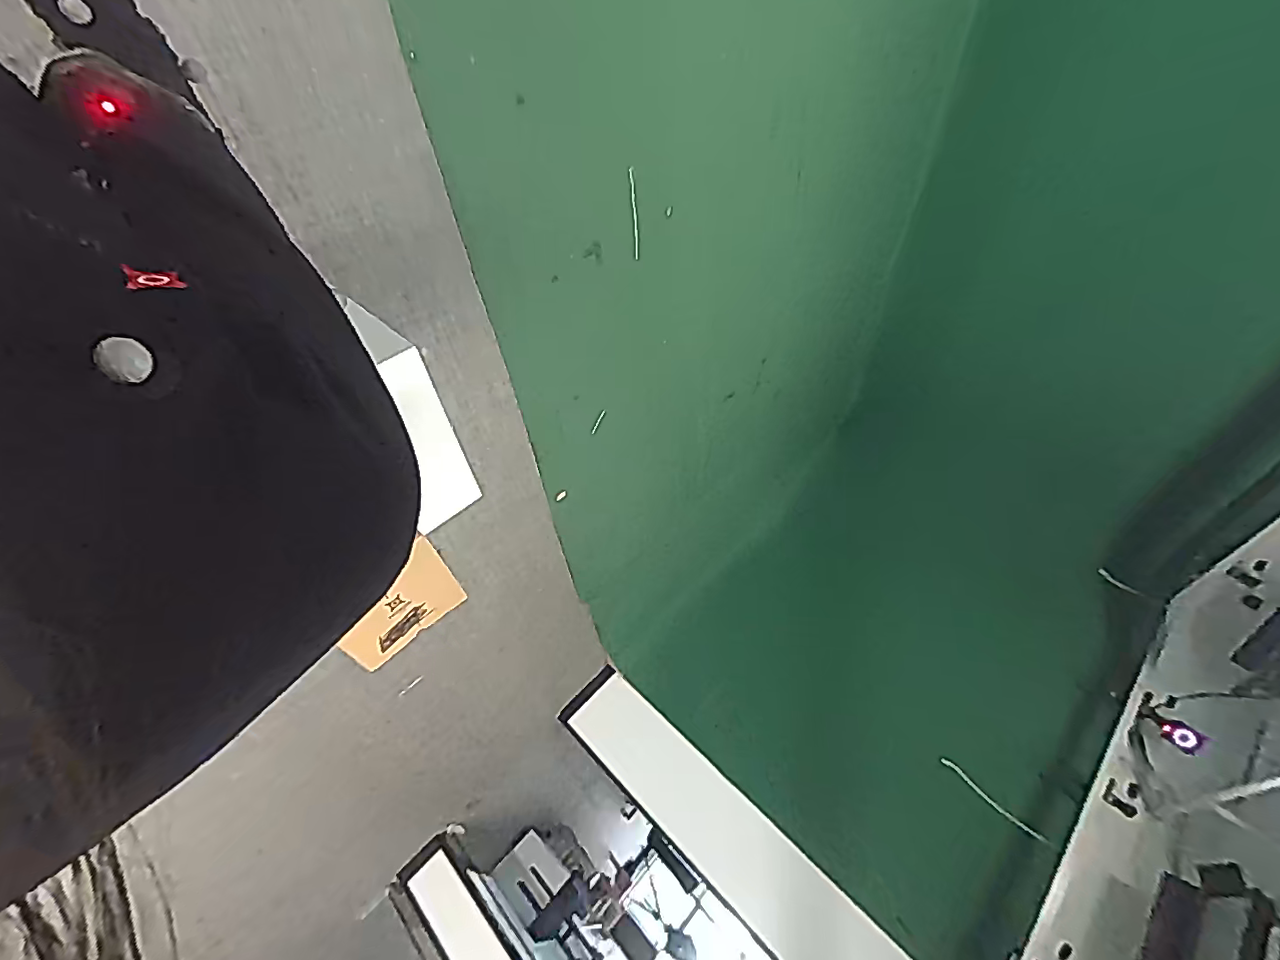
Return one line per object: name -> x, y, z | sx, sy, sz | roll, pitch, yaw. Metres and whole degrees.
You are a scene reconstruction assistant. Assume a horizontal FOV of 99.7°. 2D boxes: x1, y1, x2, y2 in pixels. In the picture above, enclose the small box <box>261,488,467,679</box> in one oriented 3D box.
small box -> -0.384, 0.143, 0.769 | 0.168, 0.176, 0.179 | -41, 149, -21
